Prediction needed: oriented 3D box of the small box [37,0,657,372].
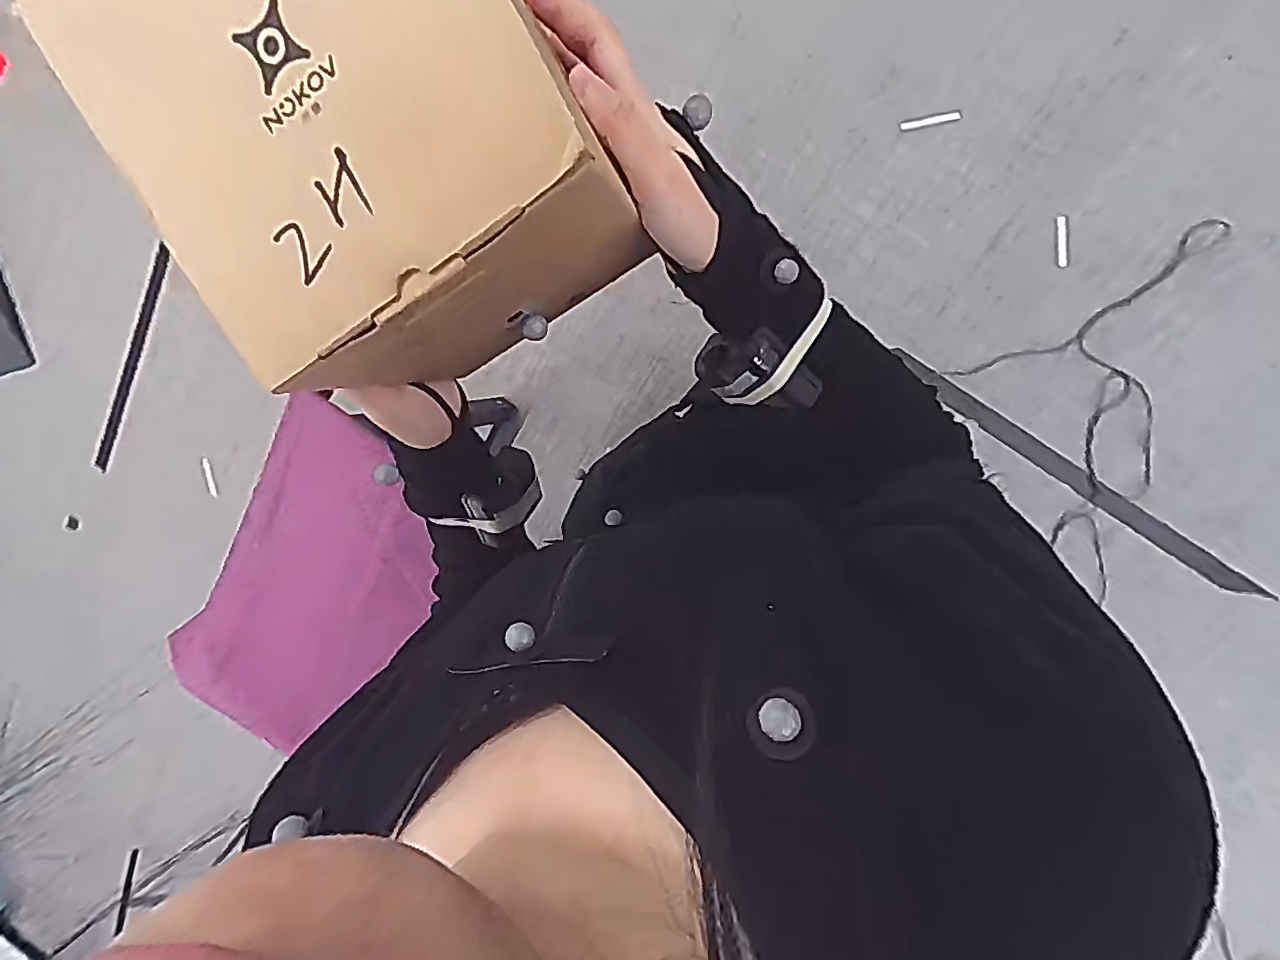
[{"bbox_3d":[-0.107,-0.168,0.268,0.168,0.176,0.179,-27,98,15],"label":"small box"}]
